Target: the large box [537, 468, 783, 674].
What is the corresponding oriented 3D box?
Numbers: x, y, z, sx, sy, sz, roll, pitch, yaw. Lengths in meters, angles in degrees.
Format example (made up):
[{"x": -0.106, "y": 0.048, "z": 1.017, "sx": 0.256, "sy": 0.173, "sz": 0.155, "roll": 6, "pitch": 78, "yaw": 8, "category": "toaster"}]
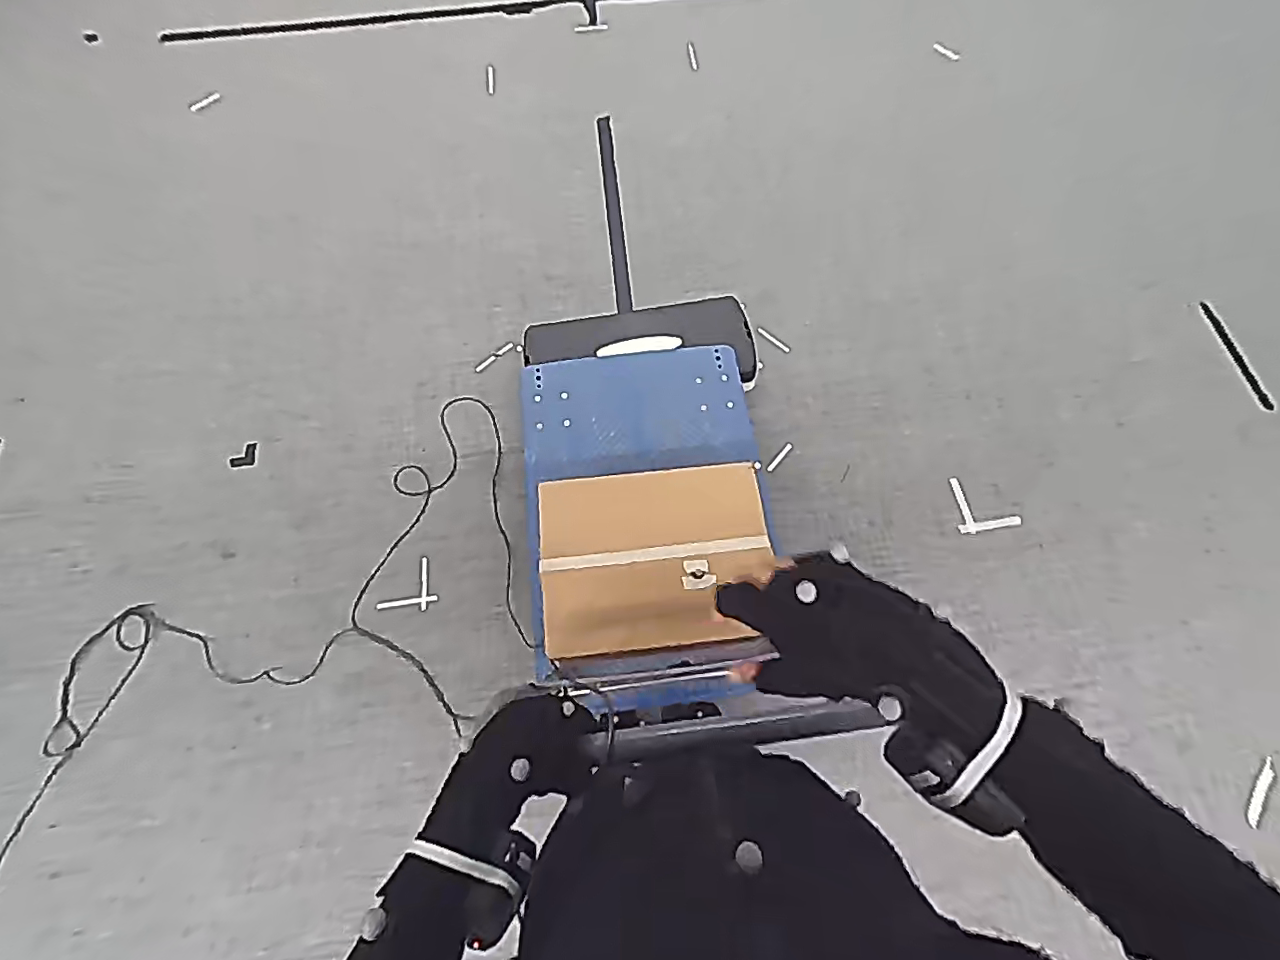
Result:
[{"x": 0.023, "y": 0.195, "z": 1.080, "sx": 0.408, "sy": 0.320, "sz": 0.320, "roll": -6, "pitch": 69, "yaw": -3, "category": "large box"}]
